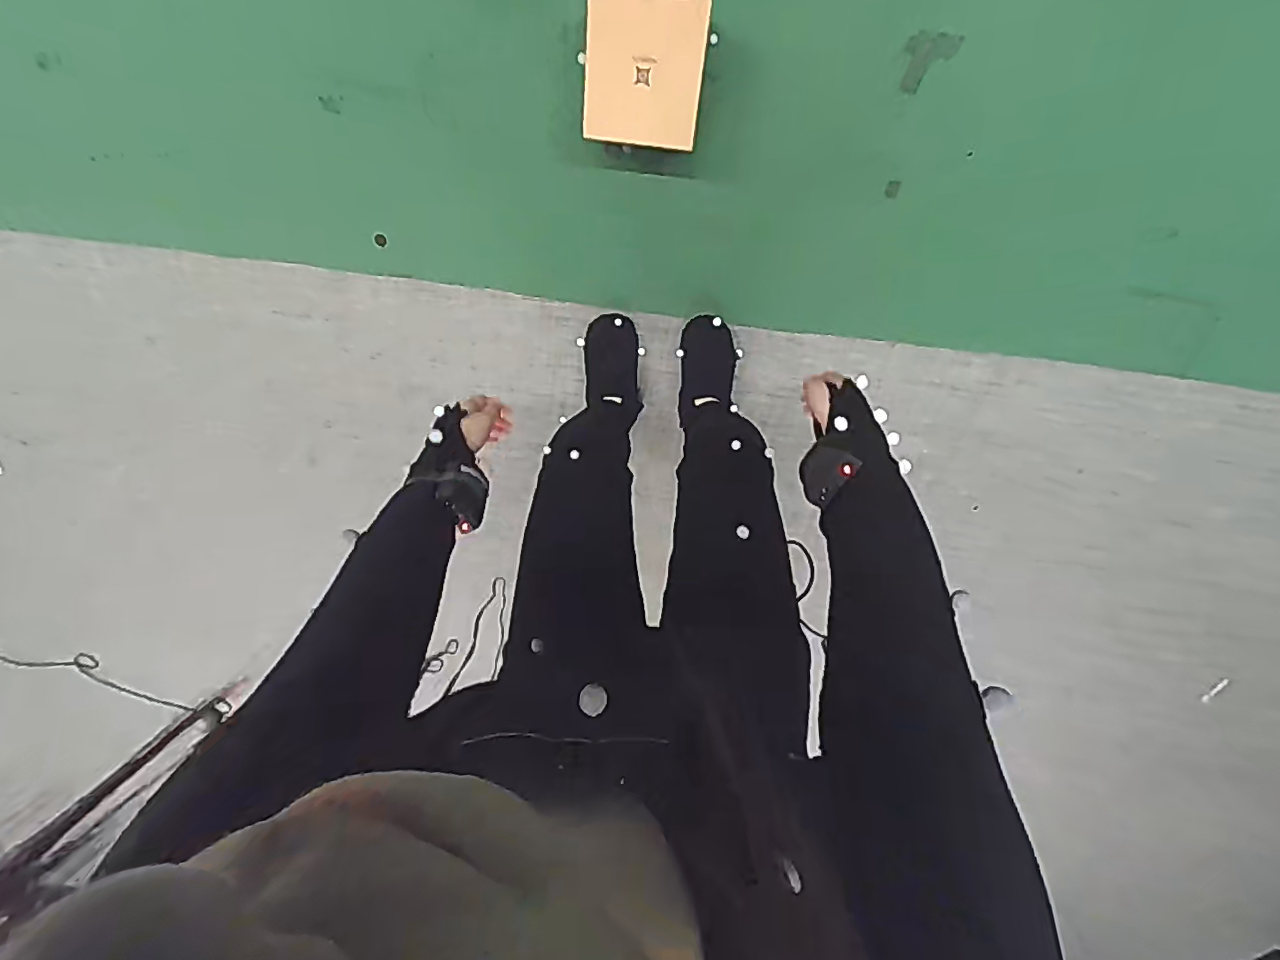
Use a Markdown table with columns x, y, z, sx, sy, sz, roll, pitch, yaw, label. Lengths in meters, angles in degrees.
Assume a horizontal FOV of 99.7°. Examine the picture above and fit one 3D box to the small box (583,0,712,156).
| x | y | z | sx | sy | sz | roll | pitch | yaw | label |
| --- | --- | --- | --- | --- | --- | --- | --- | --- | --- |
| 0.013 | -0.602 | 0.814 | 0.168 | 0.176 | 0.179 | 7 | 123 | 1 | small box |
